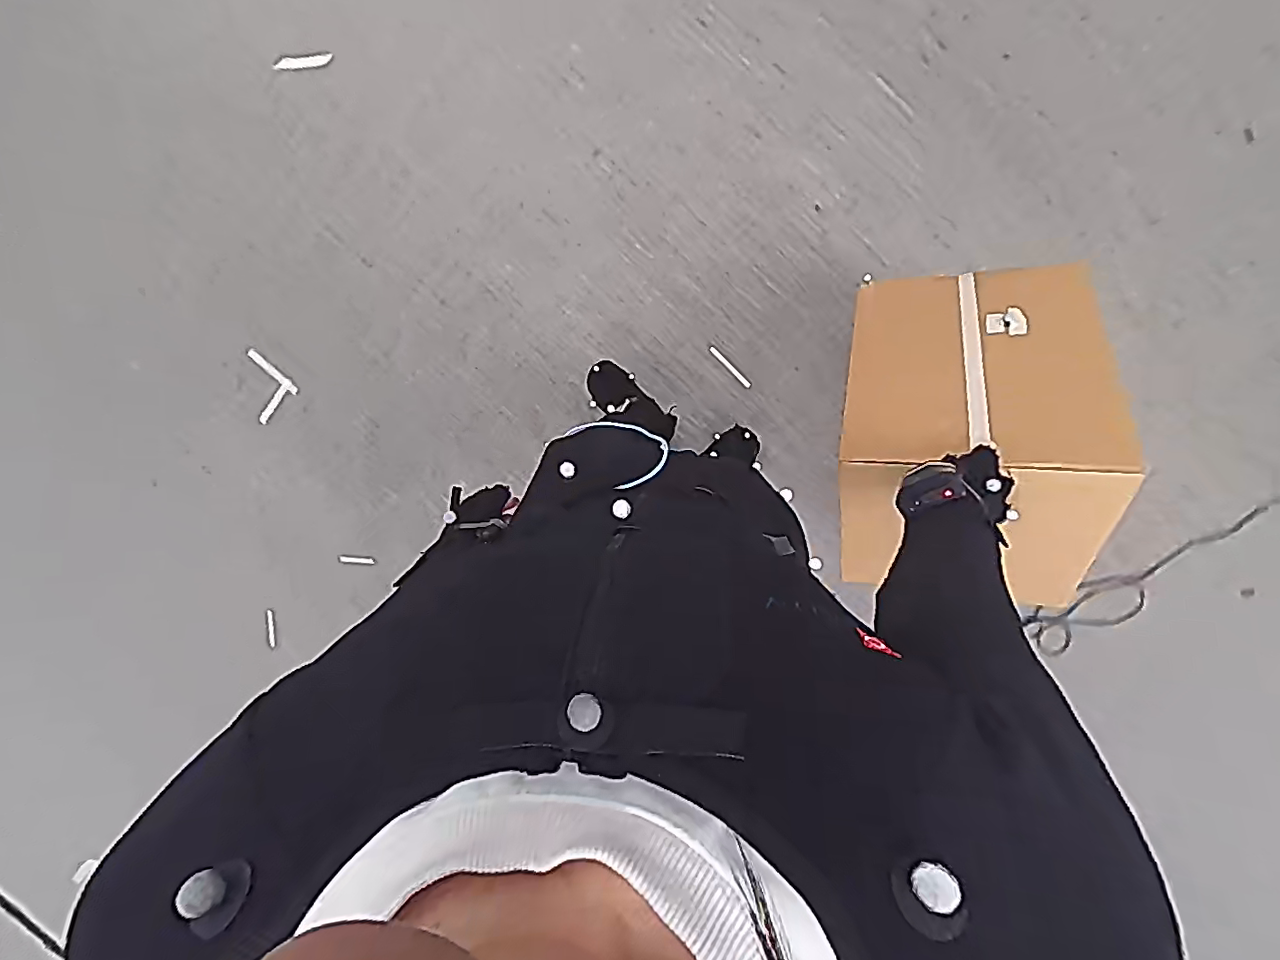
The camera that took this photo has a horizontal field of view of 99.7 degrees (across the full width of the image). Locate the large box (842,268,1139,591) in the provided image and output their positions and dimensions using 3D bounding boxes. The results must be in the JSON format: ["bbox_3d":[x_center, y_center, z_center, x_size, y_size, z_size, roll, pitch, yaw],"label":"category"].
[{"bbox_3d":[0.502,-0.079,0.869,0.320,0.408,0.320,3,141,22],"label":"large box"}]
